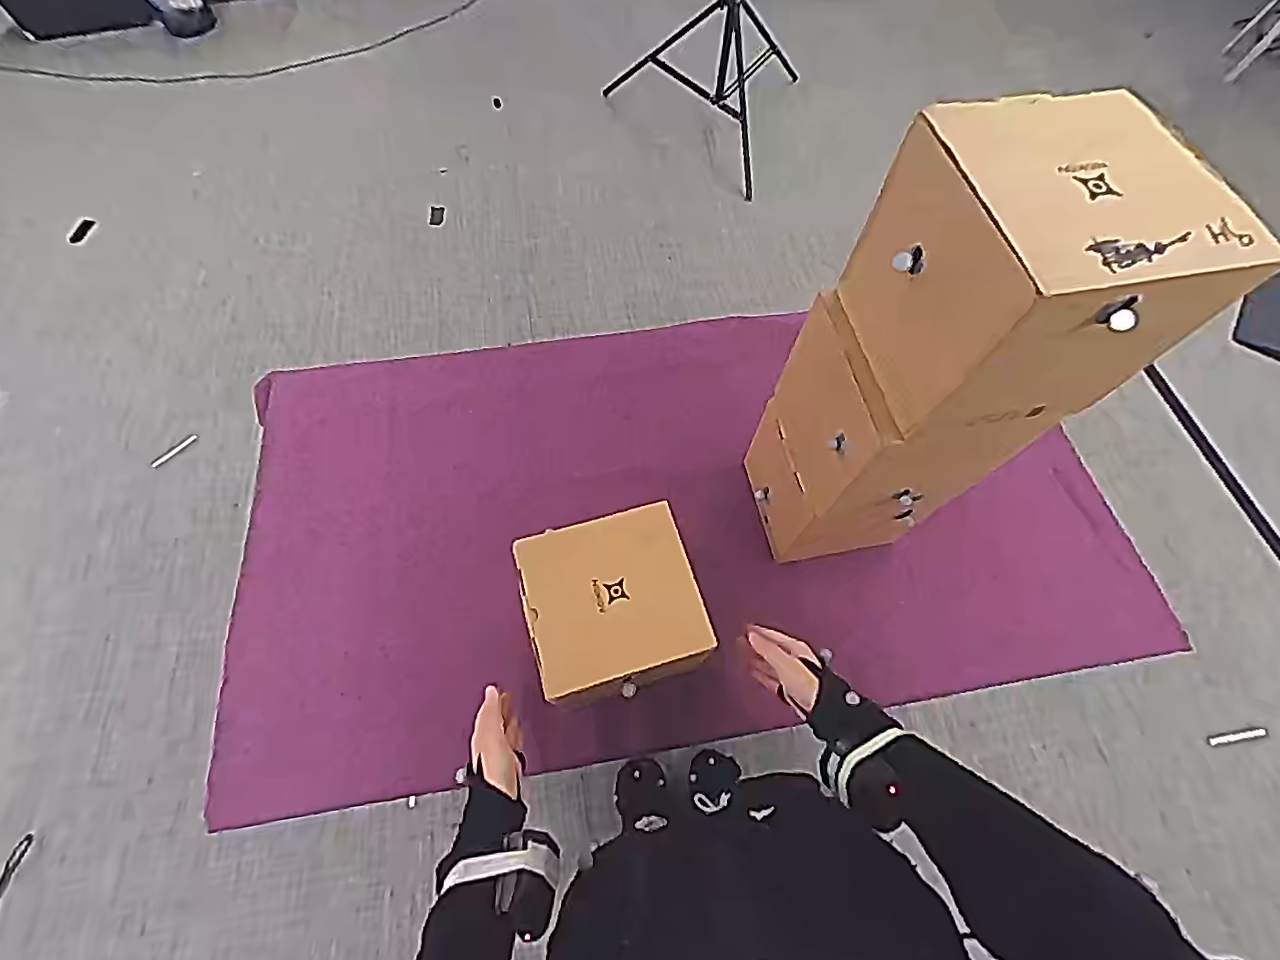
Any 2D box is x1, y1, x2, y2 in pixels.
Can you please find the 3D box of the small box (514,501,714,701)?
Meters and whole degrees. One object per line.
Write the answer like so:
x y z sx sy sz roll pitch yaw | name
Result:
-0.033 0.147 0.629 0.179 0.176 0.168 -15 66 -7 | small box

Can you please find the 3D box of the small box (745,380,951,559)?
0.255 -0.009 0.710 0.179 0.176 0.168 -10 64 -5 | small box

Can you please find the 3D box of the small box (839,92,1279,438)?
0.279 -0.156 0.417 0.168 0.176 0.179 -10 64 -5 | small box
